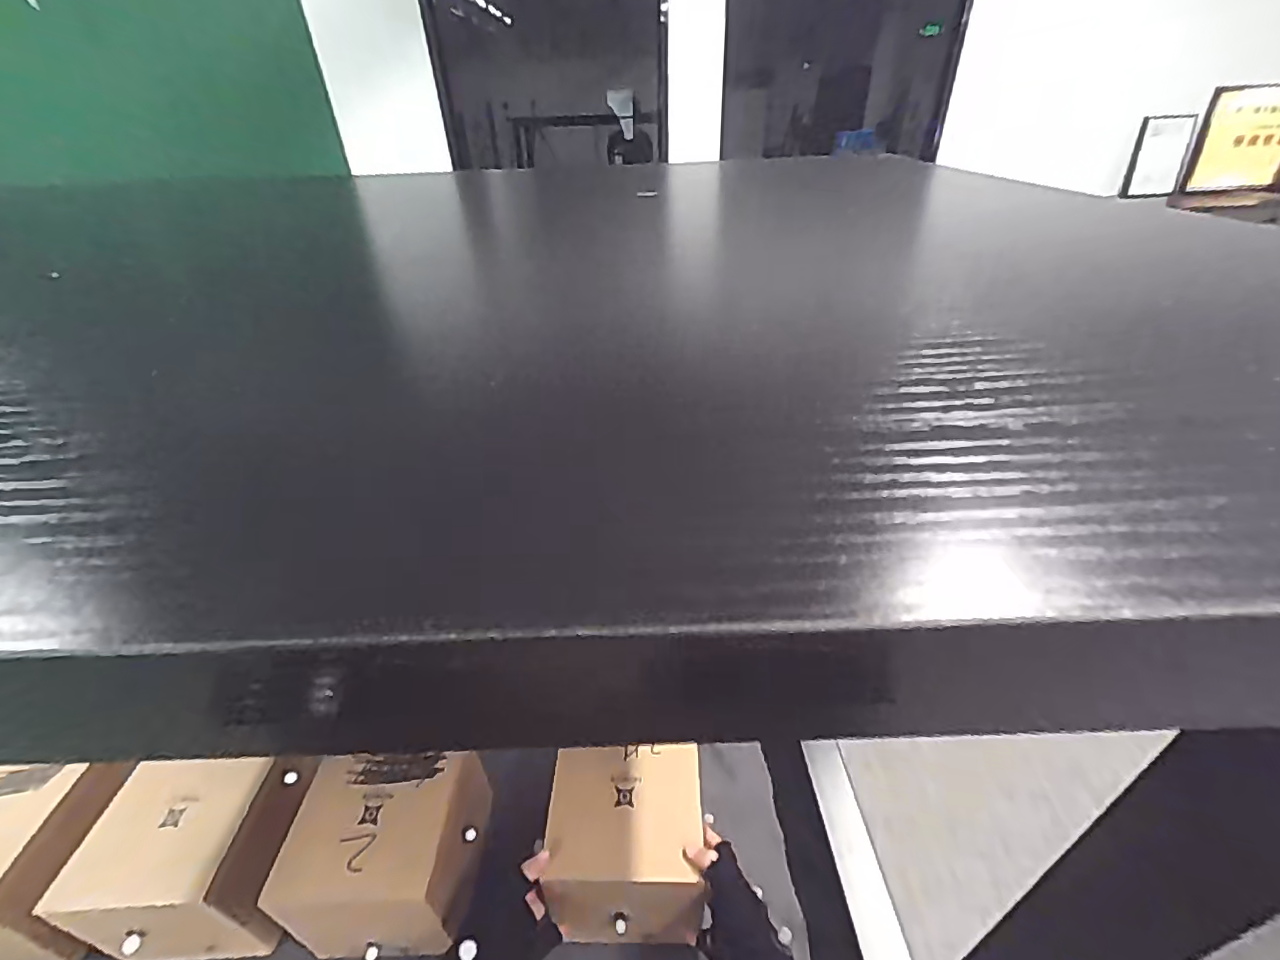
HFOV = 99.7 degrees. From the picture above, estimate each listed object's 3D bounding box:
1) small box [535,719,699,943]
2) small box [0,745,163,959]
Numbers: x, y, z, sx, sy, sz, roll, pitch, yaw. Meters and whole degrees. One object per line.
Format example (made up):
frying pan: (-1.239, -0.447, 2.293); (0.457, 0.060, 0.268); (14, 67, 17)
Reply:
small box: (-0.016, 0.410, 0.637); (0.168, 0.176, 0.179); (0, 33, 2)
small box: (-0.725, 0.445, 0.638); (0.168, 0.176, 0.179); (-4, 34, -1)
